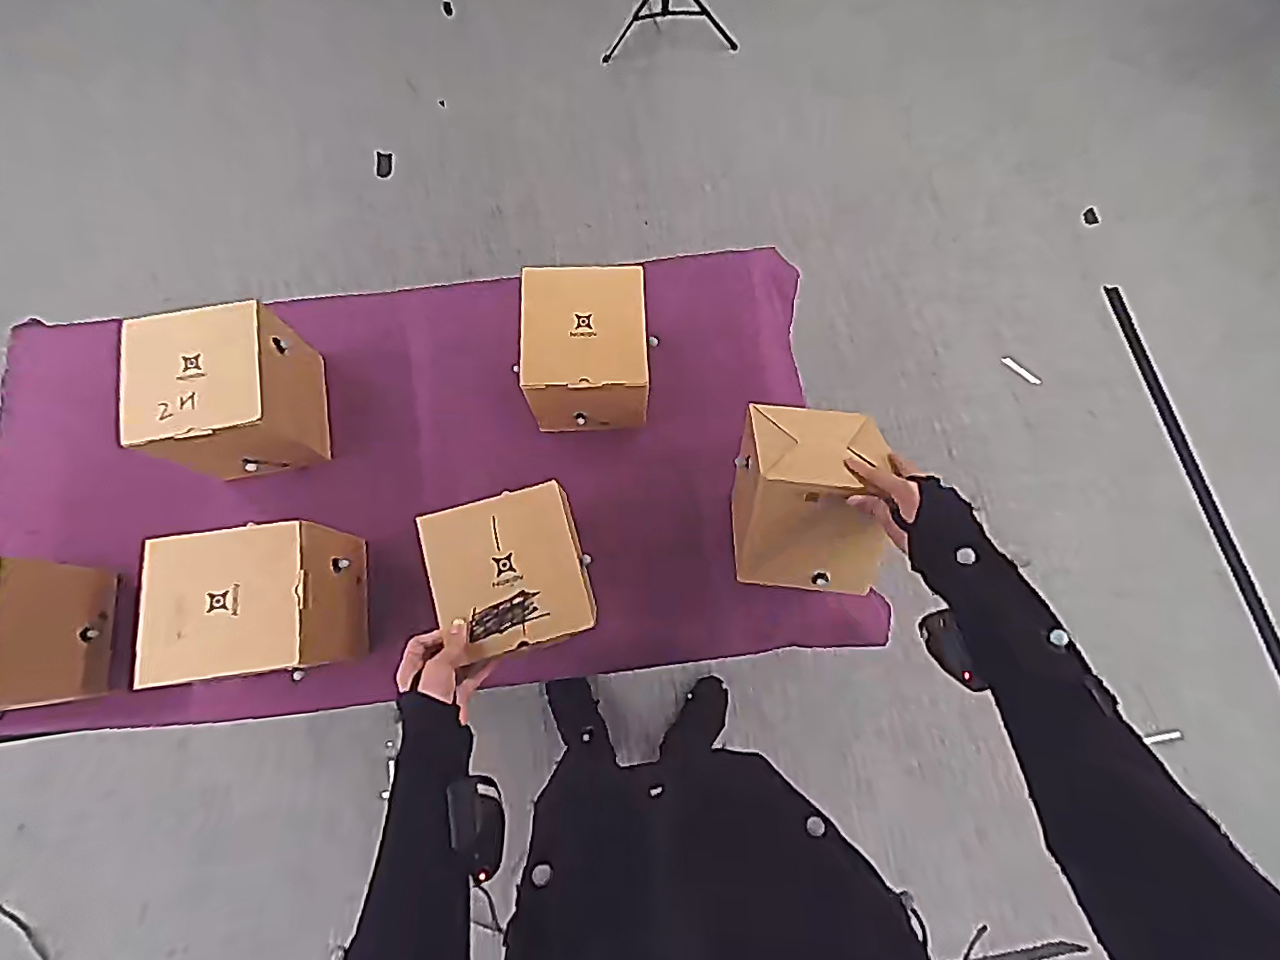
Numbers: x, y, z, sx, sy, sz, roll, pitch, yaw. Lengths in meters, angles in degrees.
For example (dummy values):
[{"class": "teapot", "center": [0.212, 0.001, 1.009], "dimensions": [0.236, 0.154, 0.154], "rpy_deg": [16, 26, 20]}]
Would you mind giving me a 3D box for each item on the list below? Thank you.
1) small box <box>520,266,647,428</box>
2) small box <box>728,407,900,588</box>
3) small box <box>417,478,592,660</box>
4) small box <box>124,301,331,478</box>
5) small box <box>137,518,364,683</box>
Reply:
[{"class": "small box", "center": [-0.078, -0.188, 0.793], "dimensions": [0.168, 0.176, 0.179], "rpy_deg": [-2, 76, -2]}, {"class": "small box", "center": [0.212, 0.013, 0.703], "dimensions": [0.168, 0.176, 0.179], "rpy_deg": [5, 35, 3]}, {"class": "small box", "center": [-0.160, 0.108, 0.693], "dimensions": [0.168, 0.176, 0.179], "rpy_deg": [-15, 83, -6]}, {"class": "small box", "center": [-0.560, -0.119, 0.756], "dimensions": [0.168, 0.176, 0.179], "rpy_deg": [-11, 76, -5]}, {"class": "small box", "center": [-0.468, 0.151, 0.683], "dimensions": [0.179, 0.176, 0.168], "rpy_deg": [-7, 75, -5]}]
